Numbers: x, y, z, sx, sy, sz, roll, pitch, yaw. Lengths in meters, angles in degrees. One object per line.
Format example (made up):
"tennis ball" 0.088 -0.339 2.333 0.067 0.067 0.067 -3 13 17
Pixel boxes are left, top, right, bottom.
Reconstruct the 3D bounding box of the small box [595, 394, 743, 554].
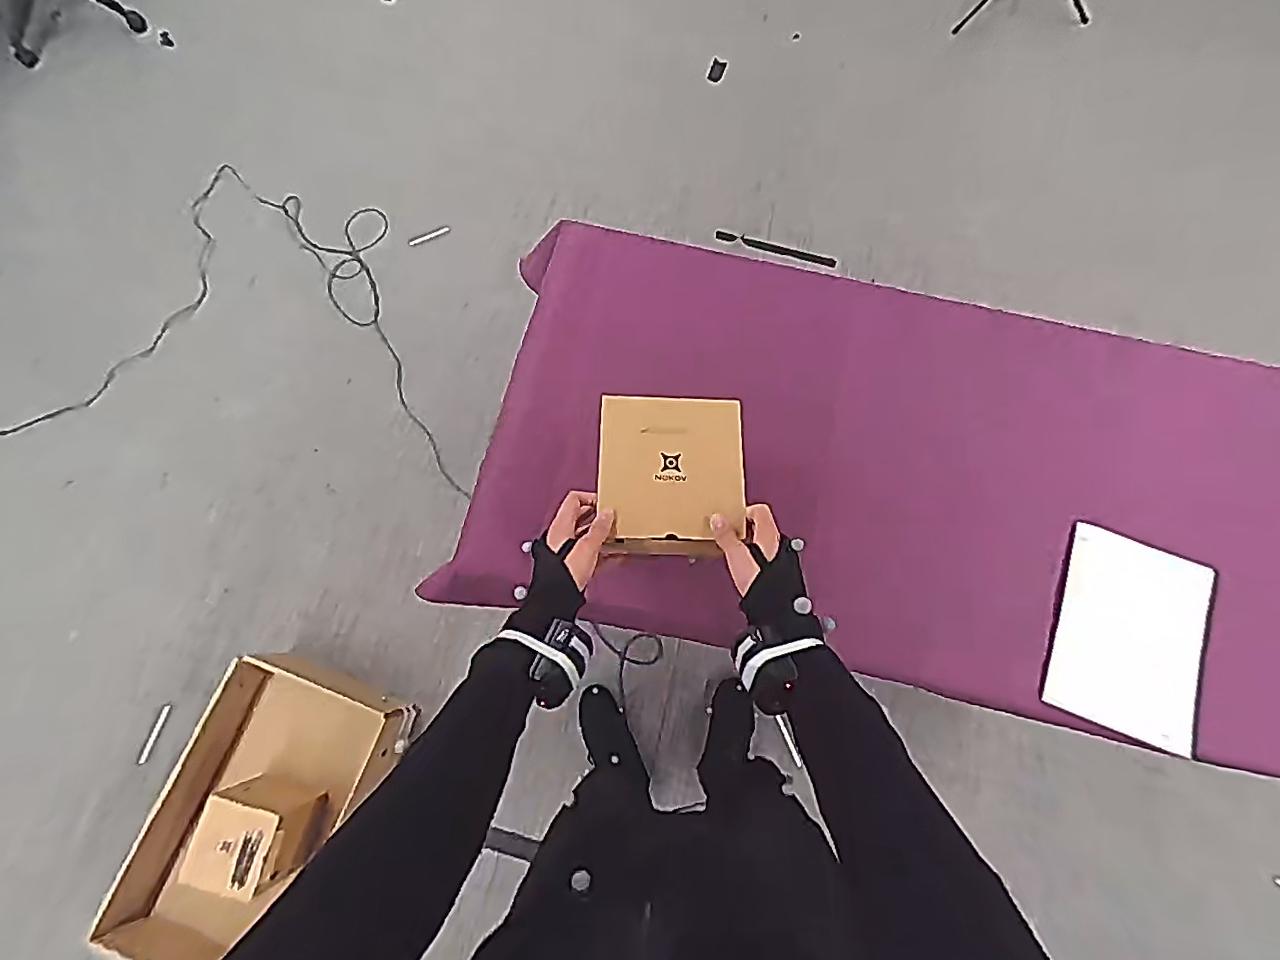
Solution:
"small box" 0.033 0.003 0.697 0.168 0.176 0.179 3 79 -2
